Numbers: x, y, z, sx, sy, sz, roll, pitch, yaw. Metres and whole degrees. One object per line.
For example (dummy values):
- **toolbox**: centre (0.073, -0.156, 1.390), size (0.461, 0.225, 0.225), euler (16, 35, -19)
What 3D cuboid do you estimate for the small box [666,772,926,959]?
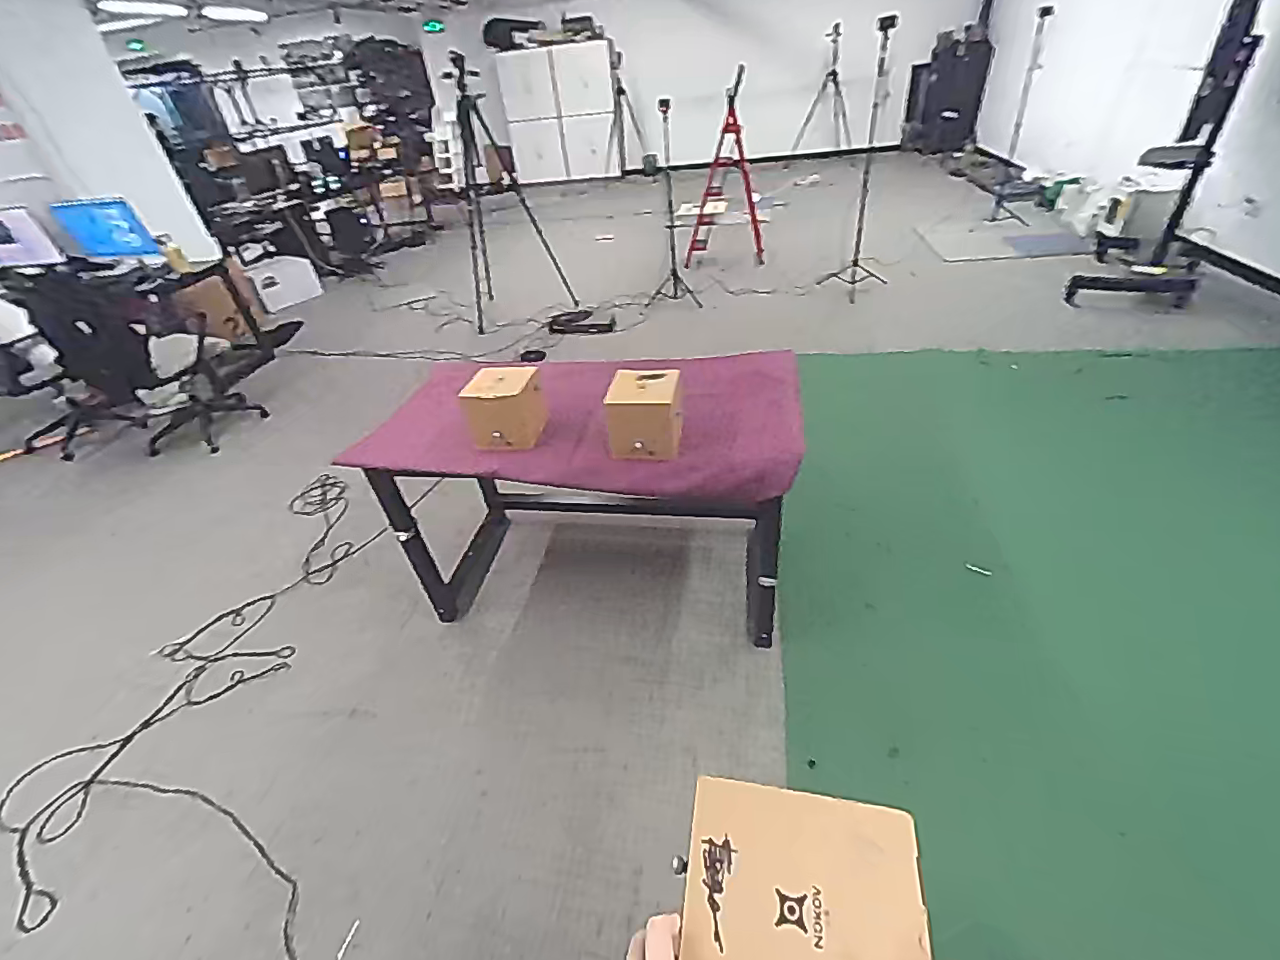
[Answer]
- **small box**: centre (0.115, 0.368, 0.442), size (0.179, 0.176, 0.168), euler (5, 45, 11)

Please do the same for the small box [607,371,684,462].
- **small box**: centre (0.022, -0.166, 1.388), size (0.168, 0.176, 0.179), euler (1, 38, 12)

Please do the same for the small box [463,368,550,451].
- **small box**: centre (-0.359, -0.196, 1.490), size (0.168, 0.176, 0.179), euler (0, 36, 11)
